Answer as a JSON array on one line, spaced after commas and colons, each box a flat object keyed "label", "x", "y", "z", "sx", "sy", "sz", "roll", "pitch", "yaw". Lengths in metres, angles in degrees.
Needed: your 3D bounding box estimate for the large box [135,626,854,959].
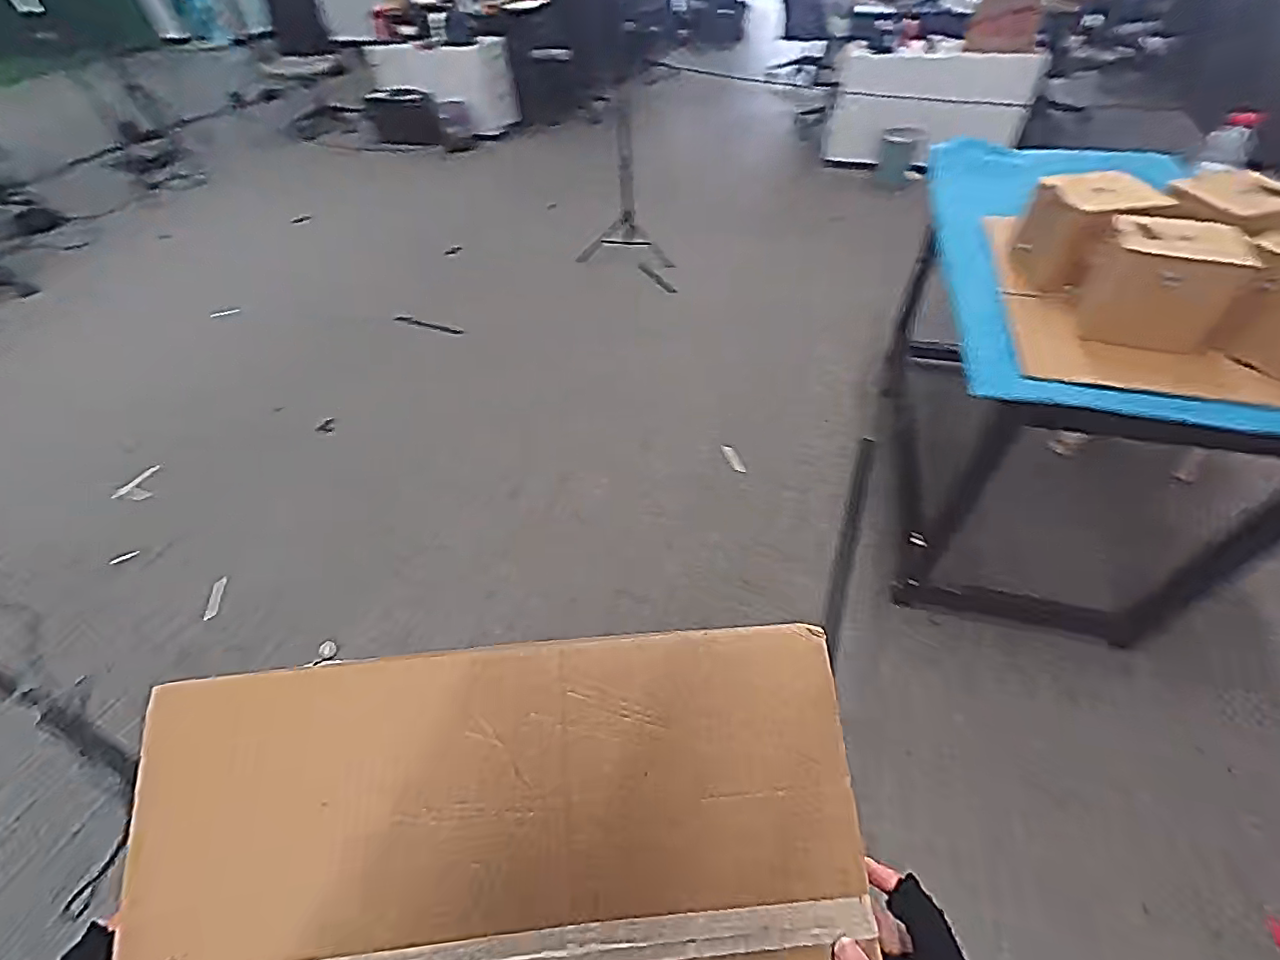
[{"label": "large box", "x": -0.084, "y": 0.303, "z": 0.444, "sx": 0.408, "sy": 0.320, "sz": 0.320, "roll": -5, "pitch": 75, "yaw": -3}]
